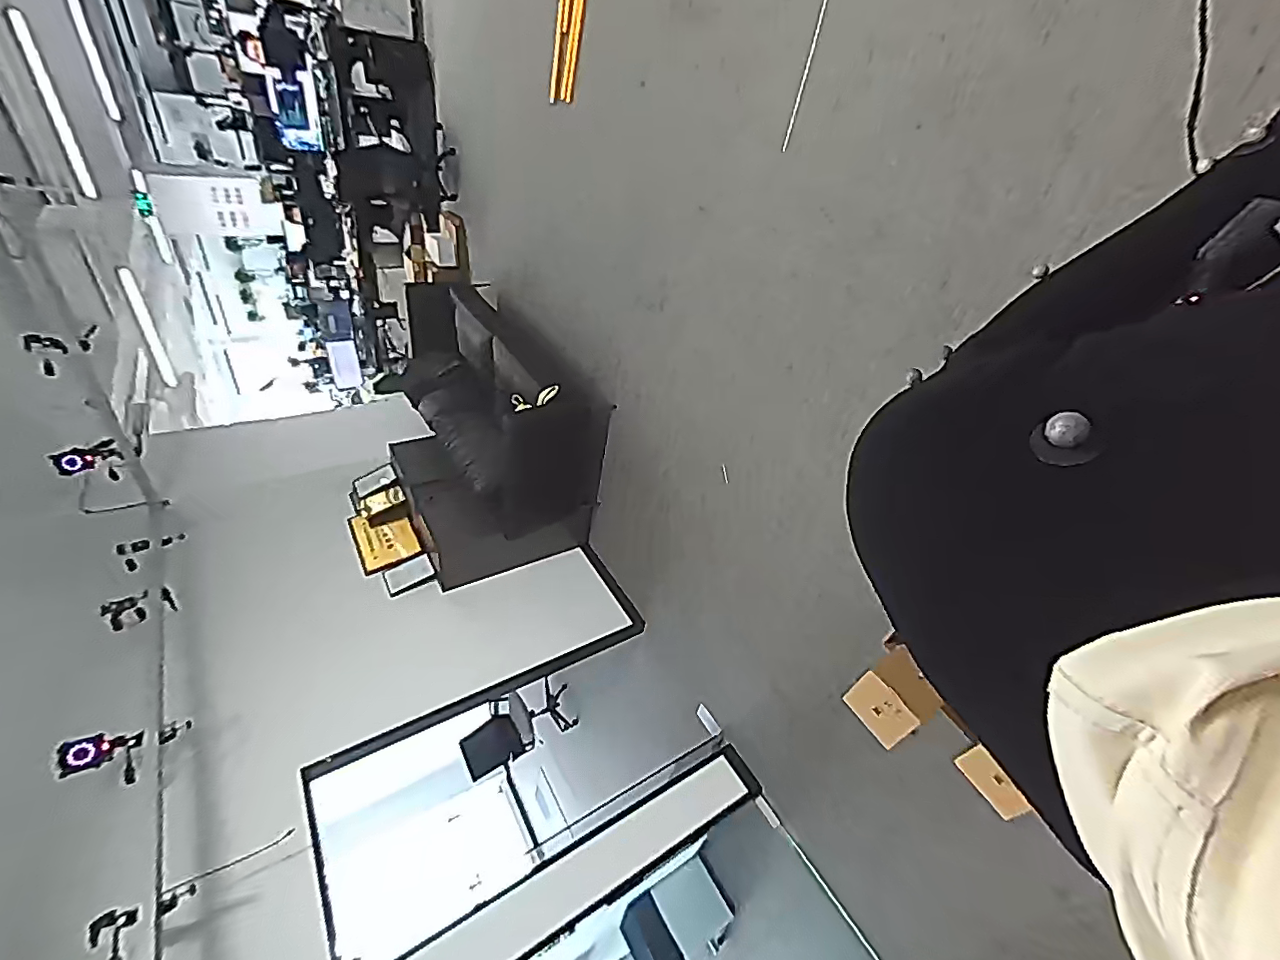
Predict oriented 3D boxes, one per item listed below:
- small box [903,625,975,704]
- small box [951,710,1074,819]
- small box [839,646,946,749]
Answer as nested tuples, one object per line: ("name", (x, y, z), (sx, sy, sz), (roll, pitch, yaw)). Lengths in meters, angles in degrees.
("small box", (0.821, 0.548, 1.557), (0.168, 0.176, 0.179), (51, 144, 31))
("small box", (0.967, 0.736, 1.406), (0.168, 0.176, 0.179), (52, 144, 34))
("small box", (0.687, 0.587, 1.469), (0.168, 0.176, 0.179), (49, 141, 32))
